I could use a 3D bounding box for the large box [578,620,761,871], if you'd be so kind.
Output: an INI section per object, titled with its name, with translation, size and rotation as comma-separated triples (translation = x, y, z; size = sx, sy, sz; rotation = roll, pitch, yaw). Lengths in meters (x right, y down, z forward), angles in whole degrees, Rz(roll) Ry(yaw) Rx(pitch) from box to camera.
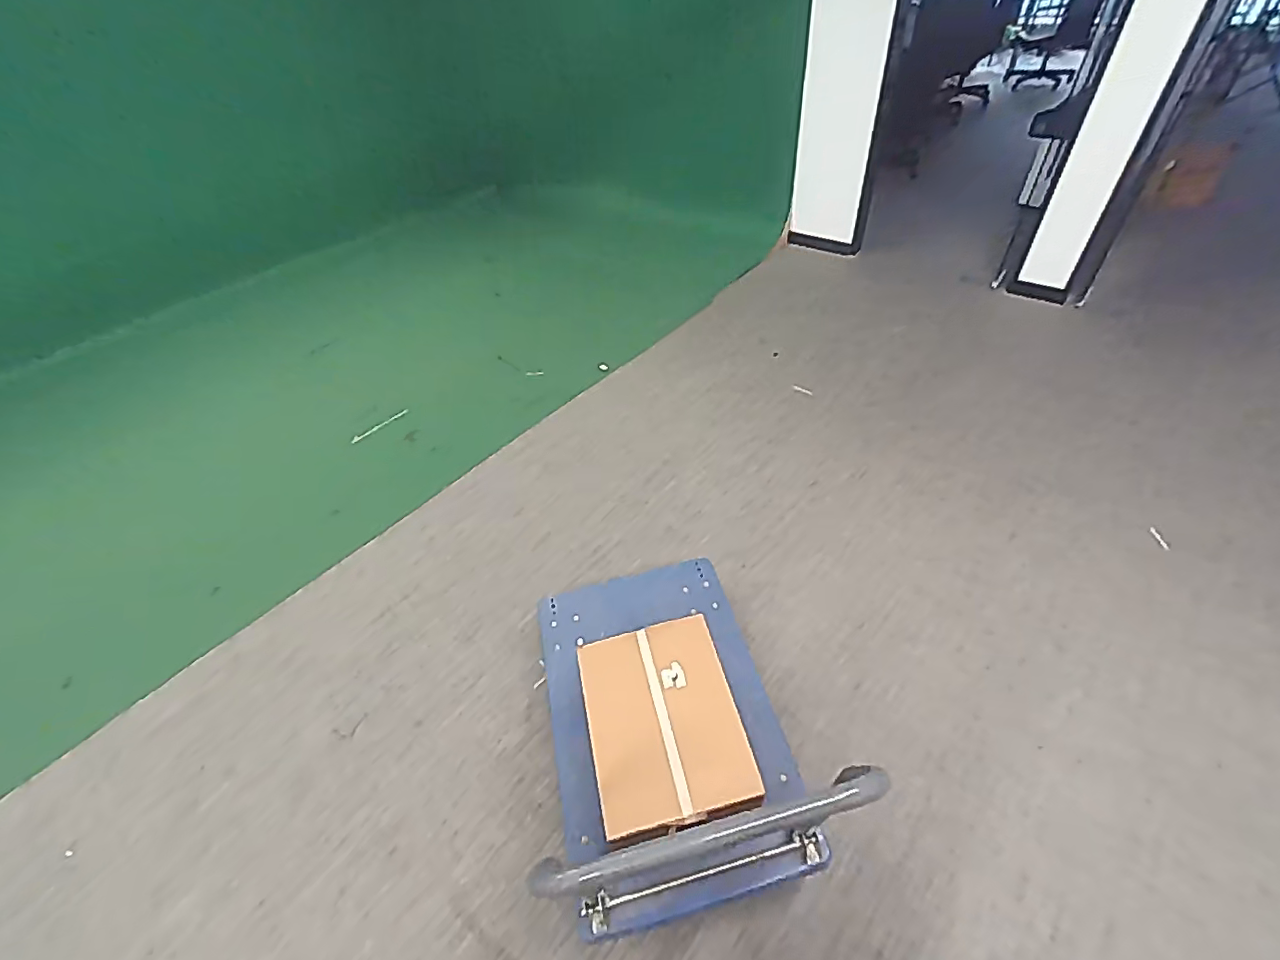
[large box]
translation = 0.062, 0.612, 1.268
size = 0.320, 0.320, 0.408
rotation = -13, 44, -5
